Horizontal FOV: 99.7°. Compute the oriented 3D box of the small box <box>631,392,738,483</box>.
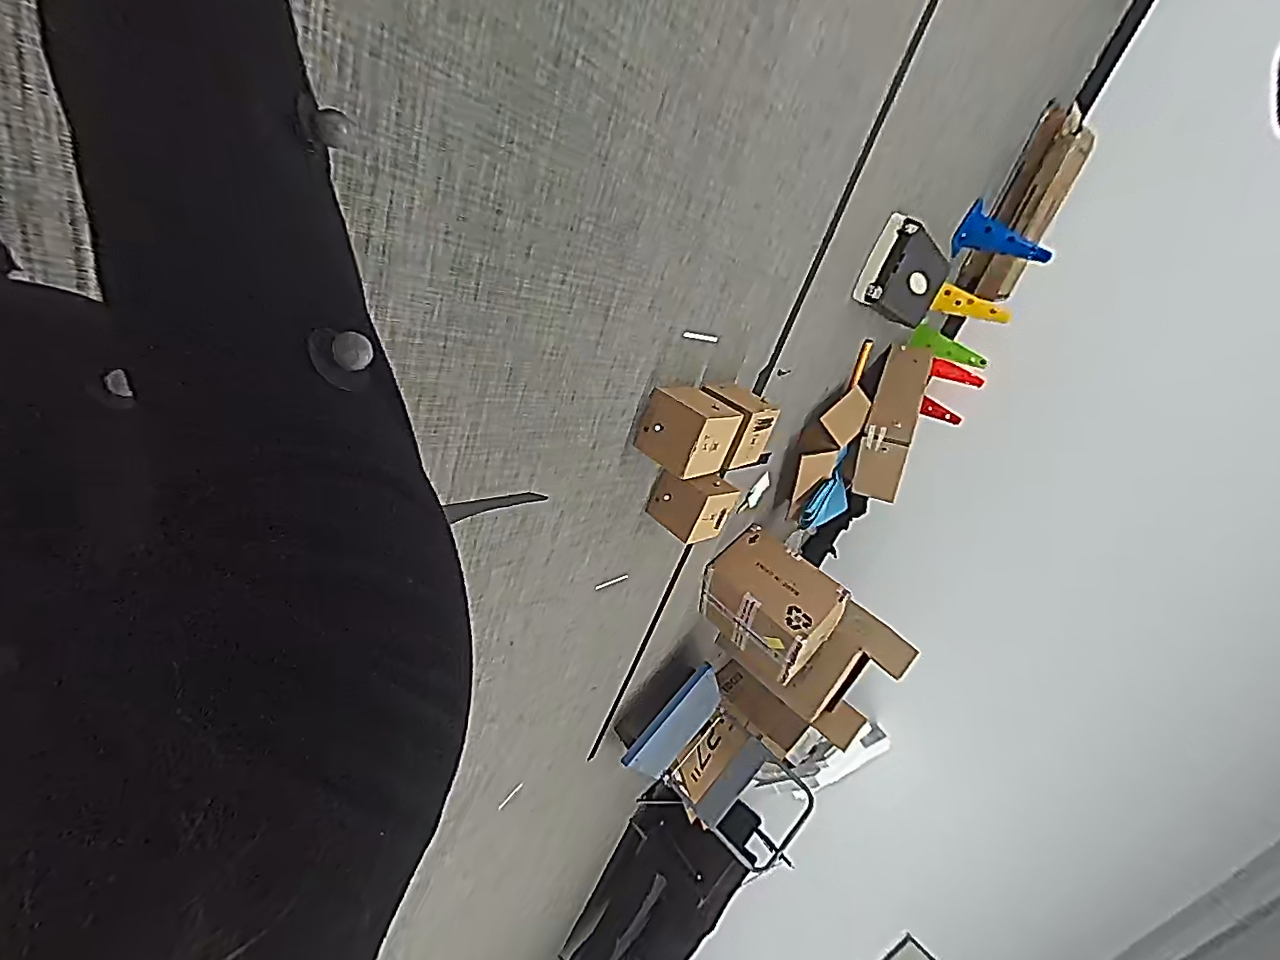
[{"bbox_3d":[0.110,-0.114,1.359,0.179,0.176,0.168,-11,129,-50],"label":"small box"}]

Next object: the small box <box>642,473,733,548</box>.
[{"bbox_3d":[0.139,0.075,1.602,0.179,0.176,0.168,-7,126,-52],"label":"small box"}]
